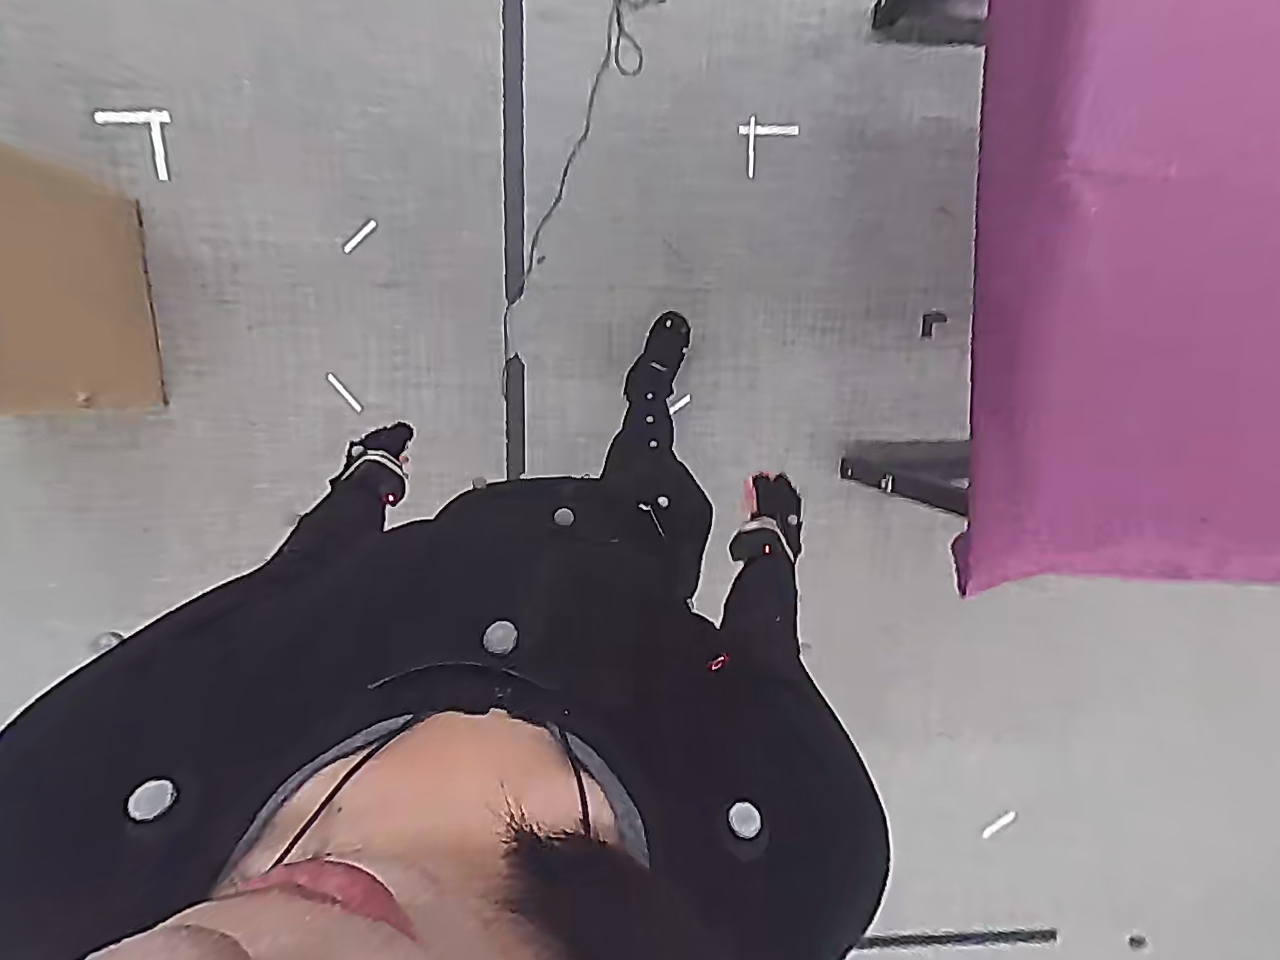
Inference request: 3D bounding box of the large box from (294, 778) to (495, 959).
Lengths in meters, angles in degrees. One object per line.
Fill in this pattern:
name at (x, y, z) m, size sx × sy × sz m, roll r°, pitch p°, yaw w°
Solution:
large box at (-0.631, 1.045, 1.459) m, size 0.408 × 0.320 × 0.320 m, roll 1°, pitch 98°, yaw -1°
